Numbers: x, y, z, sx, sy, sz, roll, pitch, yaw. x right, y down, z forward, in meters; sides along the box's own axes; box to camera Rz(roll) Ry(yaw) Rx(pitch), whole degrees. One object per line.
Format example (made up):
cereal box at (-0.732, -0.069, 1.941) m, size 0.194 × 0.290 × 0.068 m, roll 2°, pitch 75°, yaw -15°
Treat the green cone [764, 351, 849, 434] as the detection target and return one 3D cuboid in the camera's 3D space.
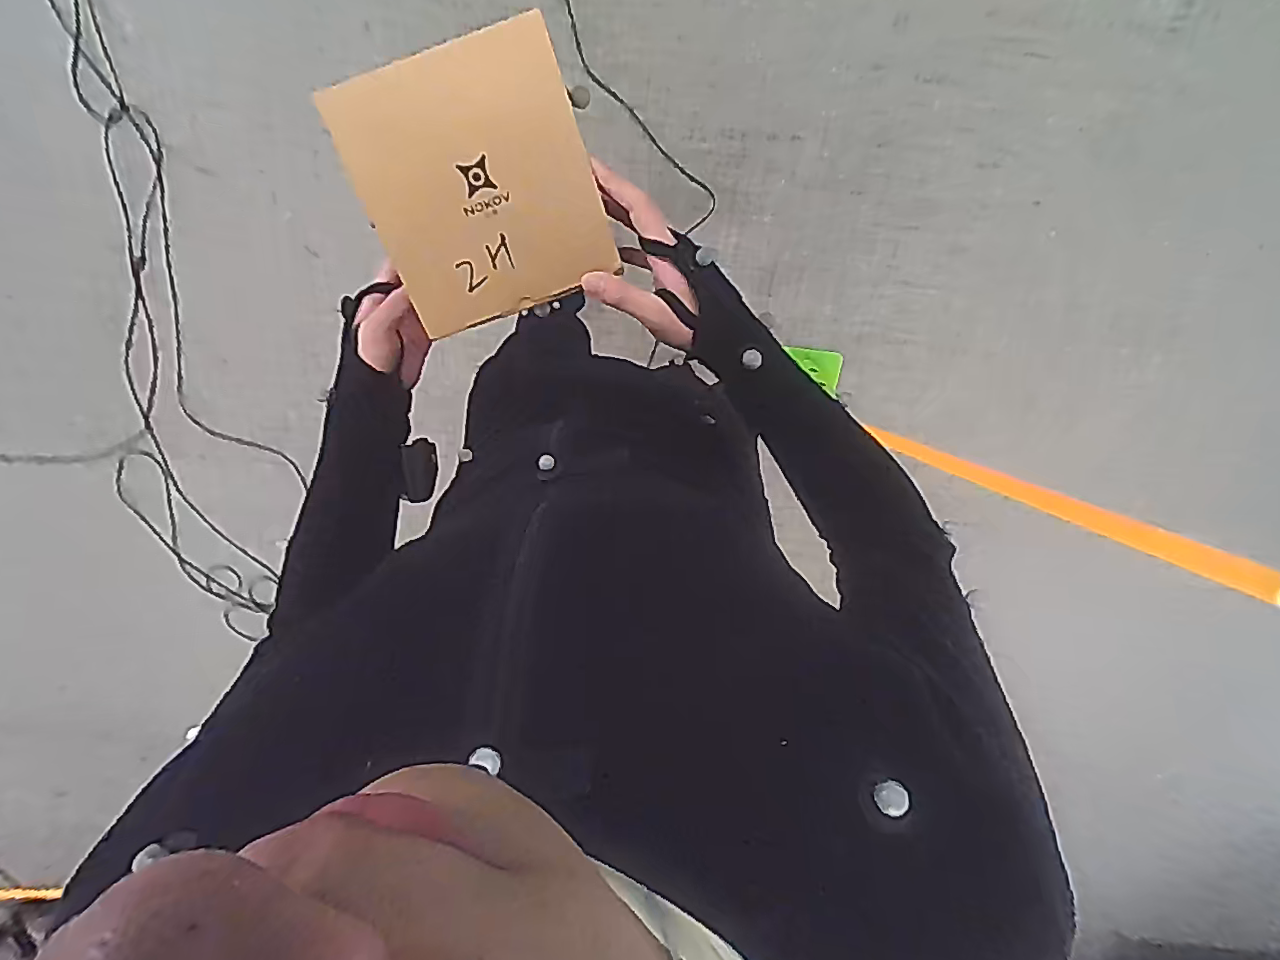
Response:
green cone at (0.450, -0.188, 1.343) m, size 0.202 × 0.368 × 0.200 m, roll 6°, pitch 111°, yaw 1°
